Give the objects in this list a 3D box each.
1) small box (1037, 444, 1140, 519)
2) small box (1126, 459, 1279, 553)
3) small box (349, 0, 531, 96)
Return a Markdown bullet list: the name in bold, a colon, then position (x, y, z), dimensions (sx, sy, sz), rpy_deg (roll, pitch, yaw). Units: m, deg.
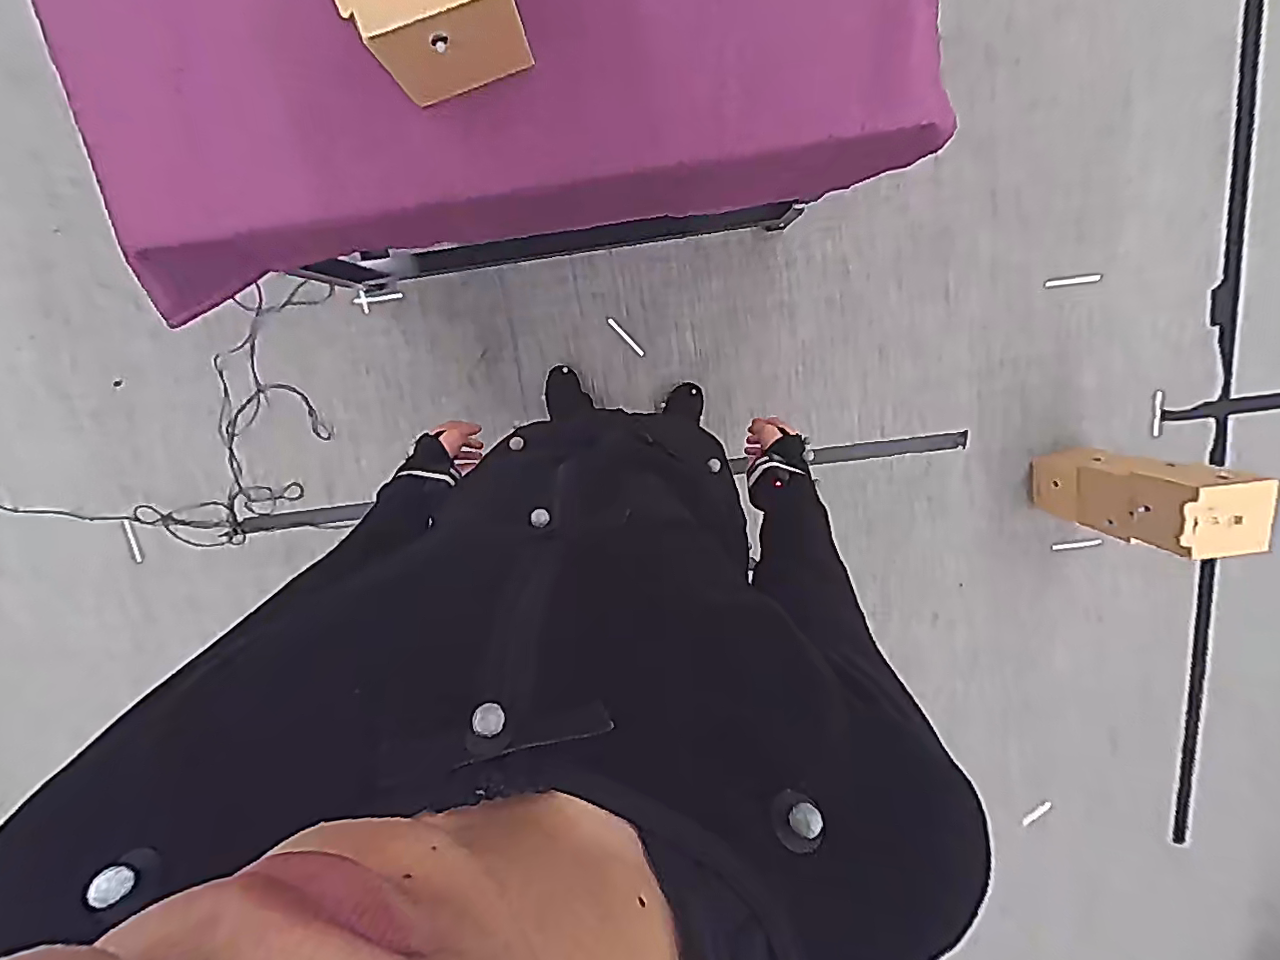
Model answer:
- **small box**: position (1.287, 0.000, 1.564), dimensions (0.179, 0.176, 0.168), rpy_deg (-11, 103, 2)
- **small box**: position (1.279, 0.054, 1.237), dimensions (0.179, 0.176, 0.168), rpy_deg (-6, 104, 1)
- **small box**: position (-0.252, -0.610, 0.653), dimensions (0.179, 0.176, 0.168), rpy_deg (-19, 103, 3)
